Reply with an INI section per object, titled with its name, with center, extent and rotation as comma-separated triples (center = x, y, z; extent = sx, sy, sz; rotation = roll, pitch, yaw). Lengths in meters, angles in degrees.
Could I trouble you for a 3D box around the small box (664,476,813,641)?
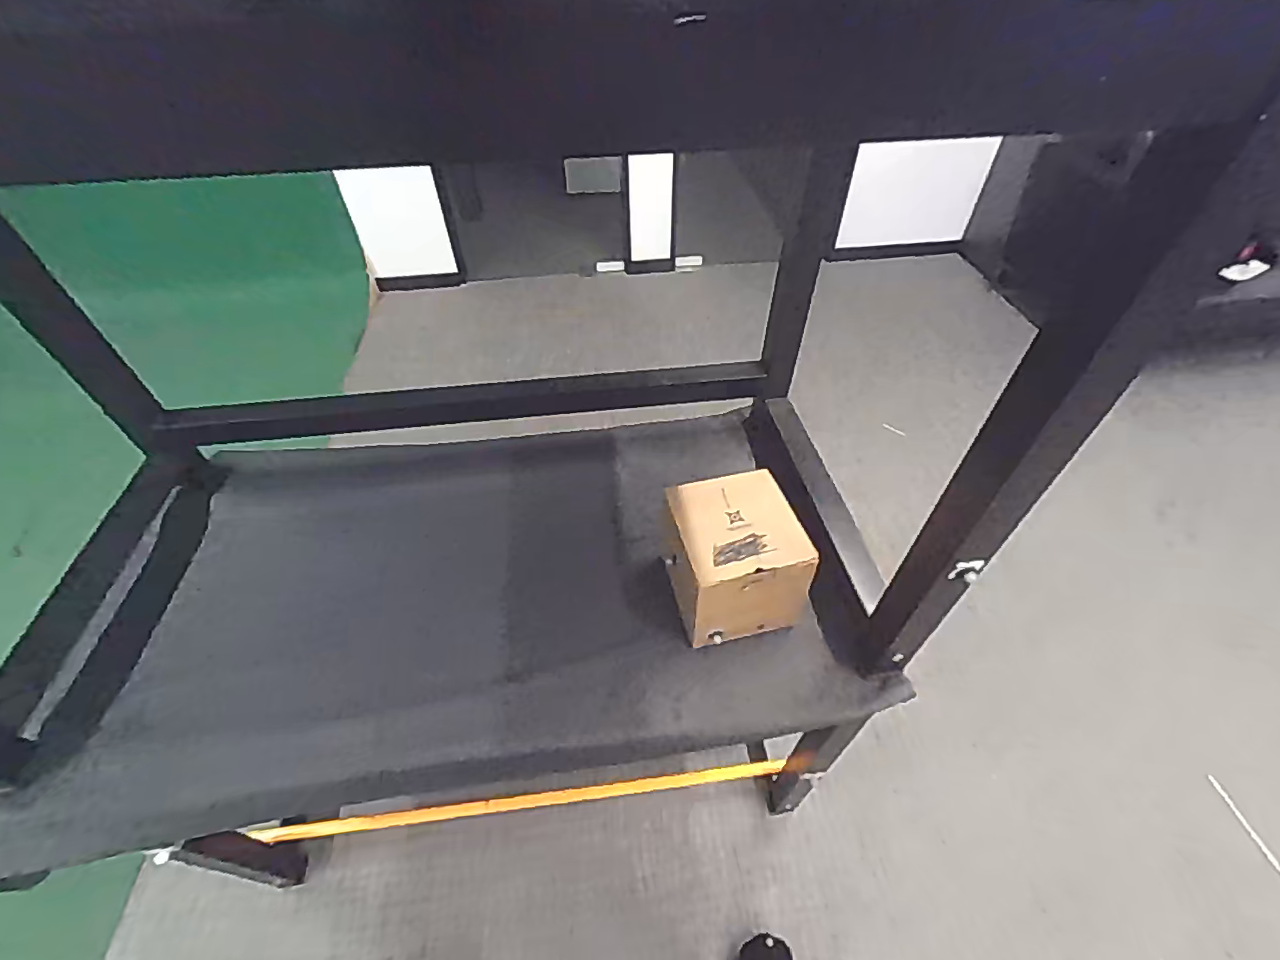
[small box]
center = 0.136, 0.123, 0.811
extent = 0.168, 0.176, 0.179
rotation = -10, 45, -8
